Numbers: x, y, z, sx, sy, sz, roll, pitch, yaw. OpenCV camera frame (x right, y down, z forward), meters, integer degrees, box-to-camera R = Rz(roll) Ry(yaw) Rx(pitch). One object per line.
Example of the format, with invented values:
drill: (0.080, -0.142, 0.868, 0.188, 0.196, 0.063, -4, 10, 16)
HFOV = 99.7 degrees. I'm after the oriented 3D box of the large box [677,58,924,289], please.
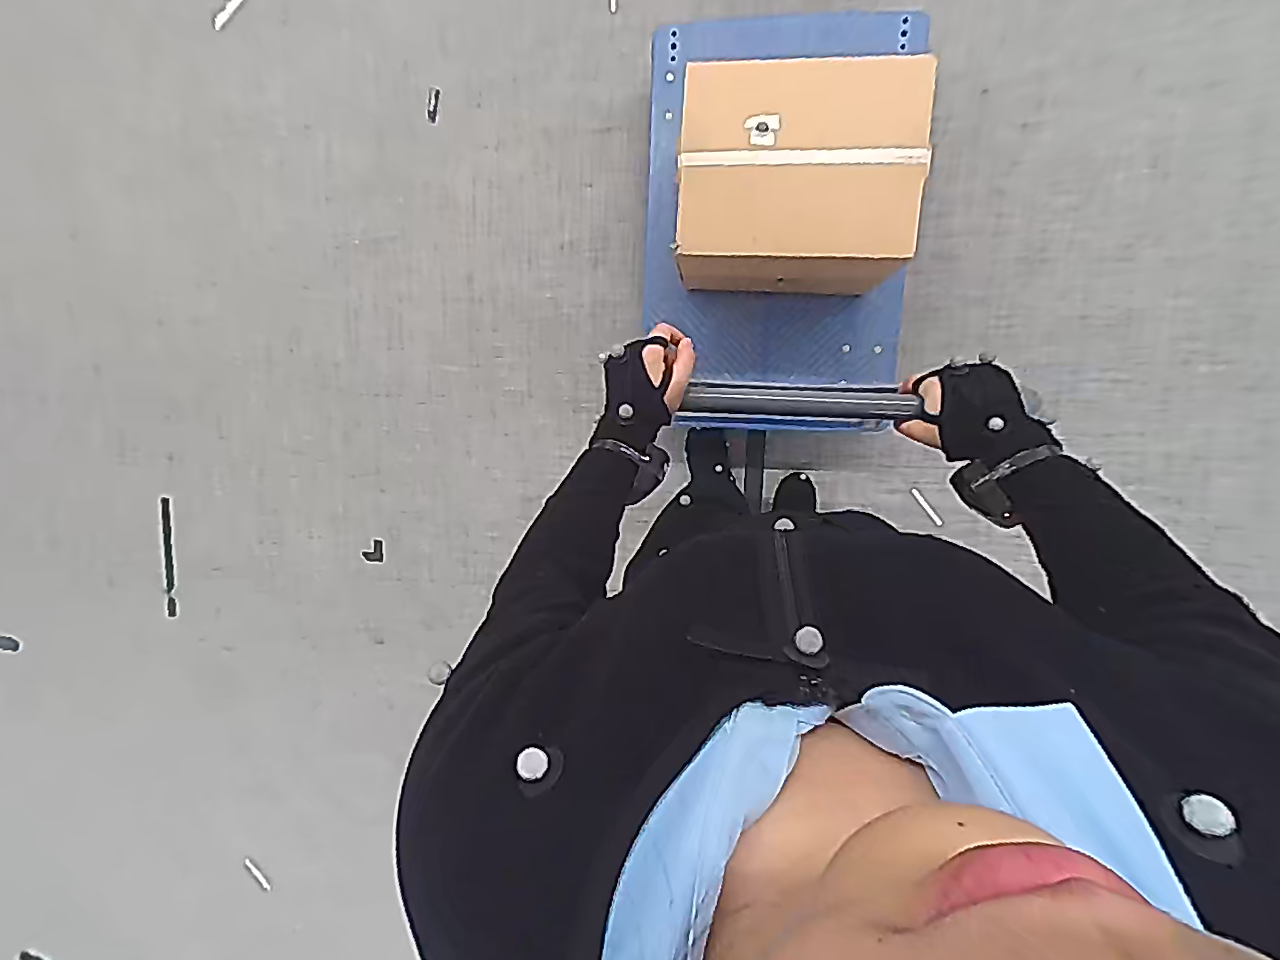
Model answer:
large box: (0.292, -0.568, 1.079, 0.408, 0.320, 0.320, 4, 97, 9)
